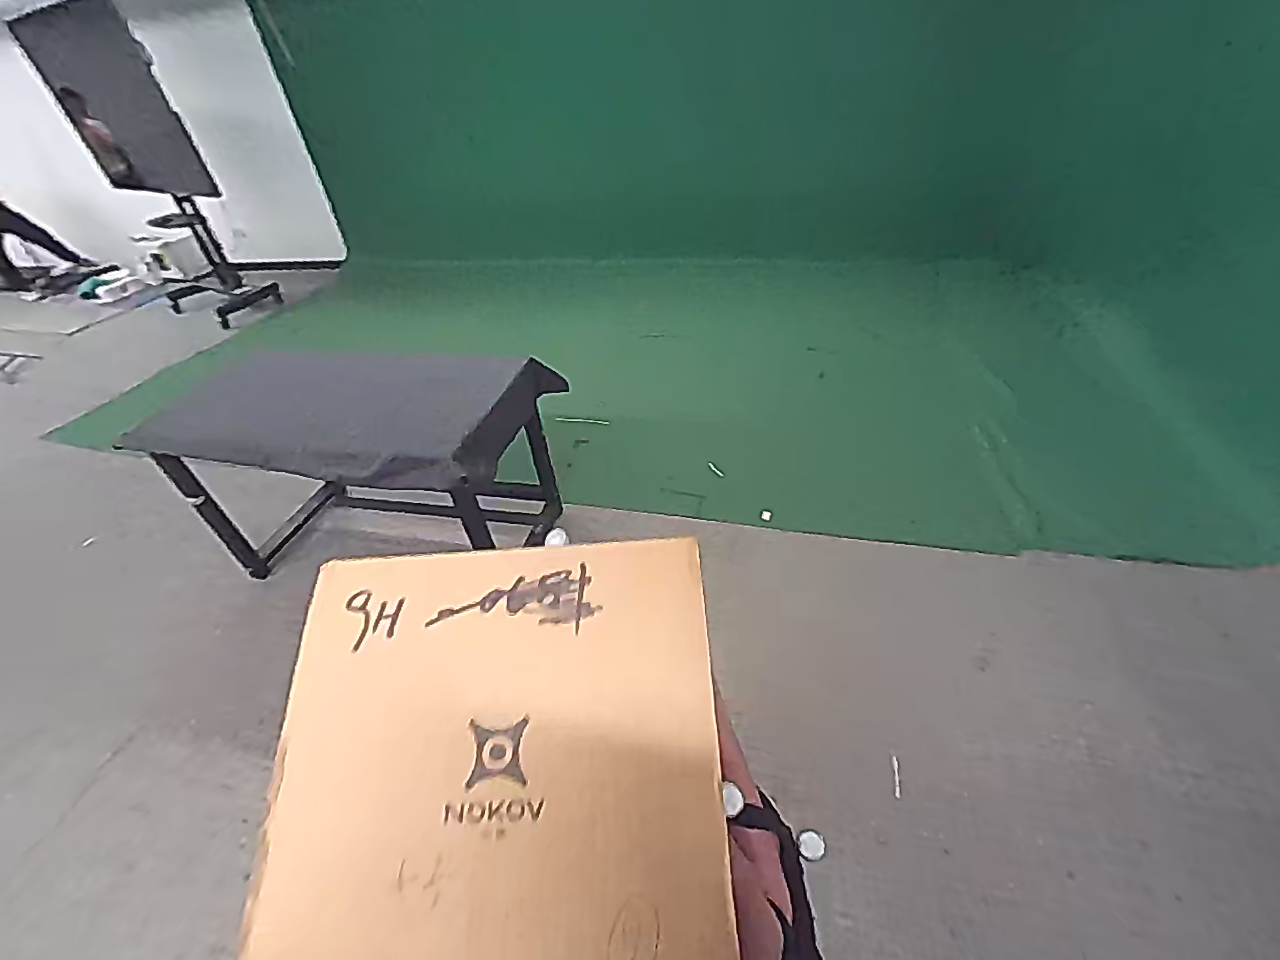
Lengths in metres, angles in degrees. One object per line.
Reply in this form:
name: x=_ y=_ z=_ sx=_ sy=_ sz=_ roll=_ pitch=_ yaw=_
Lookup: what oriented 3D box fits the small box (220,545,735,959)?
small box: x=-0.049 y=0.140 z=0.260 sx=0.168 sy=0.176 sz=0.179 roll=-3 pitch=67 yaw=0
